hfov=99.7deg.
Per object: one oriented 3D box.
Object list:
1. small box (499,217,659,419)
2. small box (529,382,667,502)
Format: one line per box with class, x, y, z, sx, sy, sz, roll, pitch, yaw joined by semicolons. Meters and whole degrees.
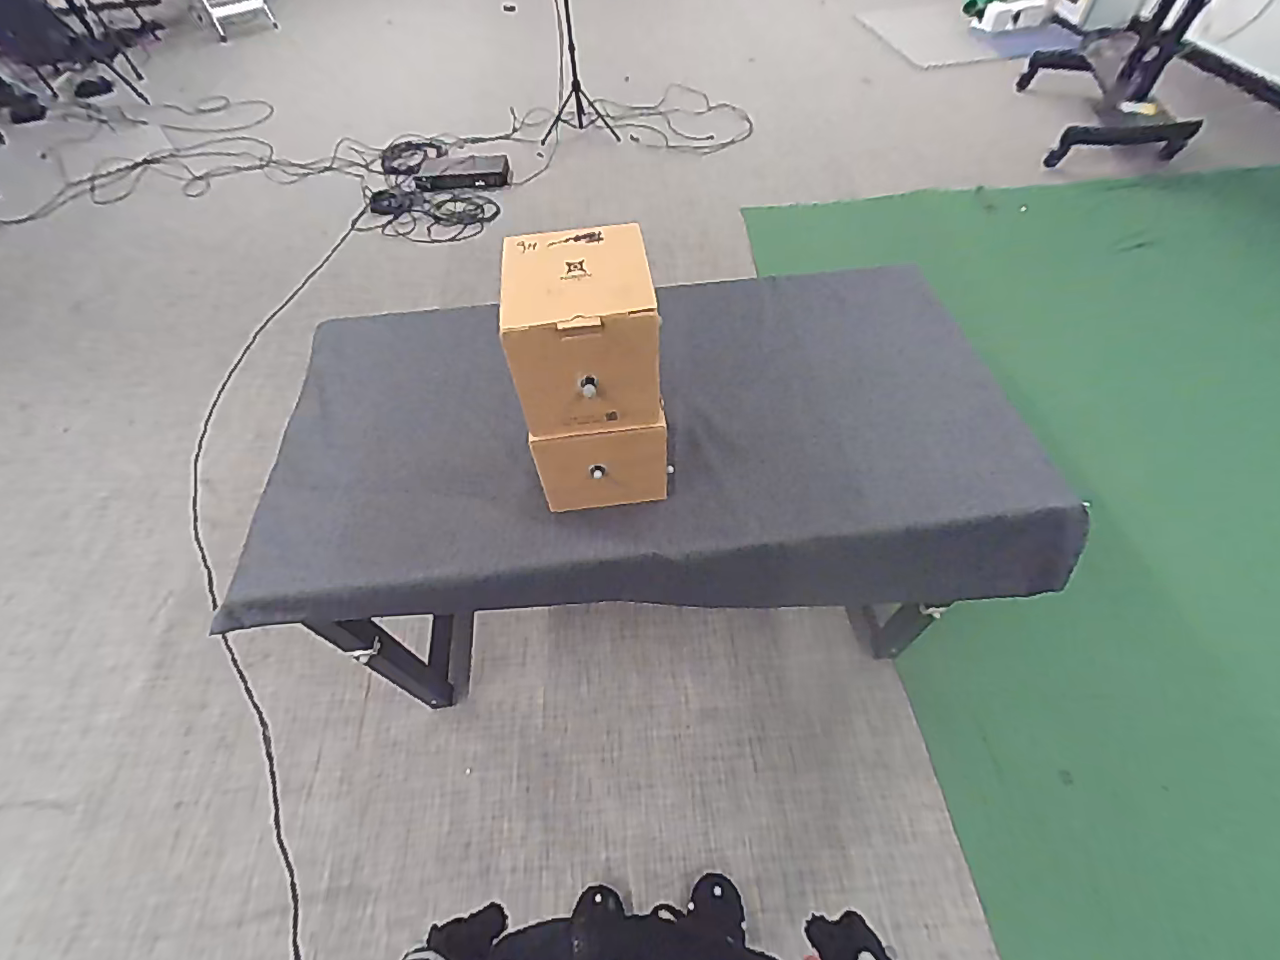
small box;-0.067;-0.189;0.662;0.168;0.176;0.179;-7;55;-2
small box;-0.058;-0.085;0.788;0.179;0.176;0.168;-7;55;-1
